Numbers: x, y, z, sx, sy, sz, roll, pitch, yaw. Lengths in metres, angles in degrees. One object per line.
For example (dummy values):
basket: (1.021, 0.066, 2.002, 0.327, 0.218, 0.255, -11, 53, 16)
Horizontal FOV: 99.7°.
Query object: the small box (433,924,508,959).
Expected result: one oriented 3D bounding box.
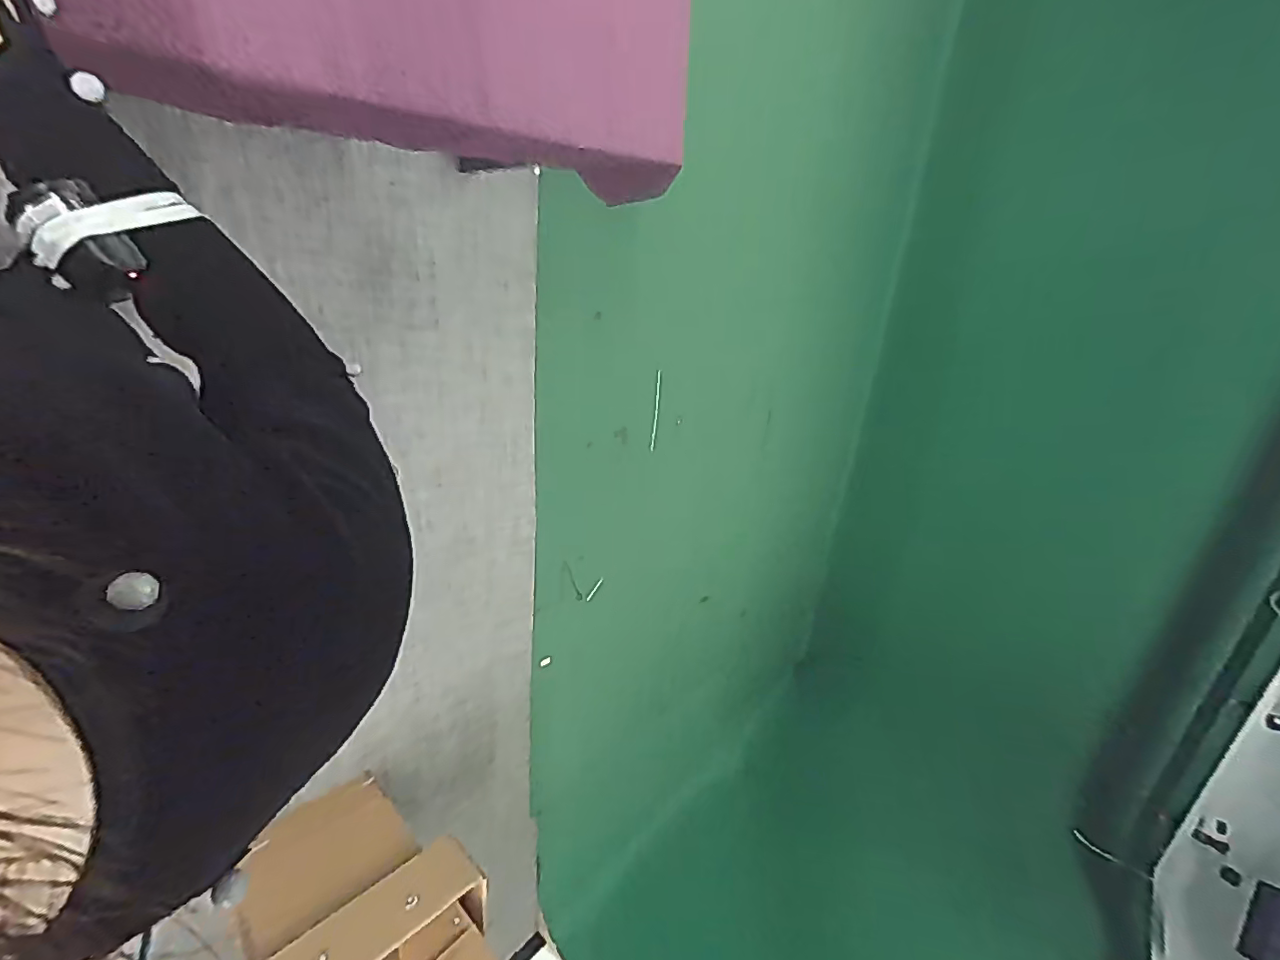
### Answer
small box: (-0.444, 1.318, 1.405, 0.168, 0.176, 0.179, -19, 122, -42)
